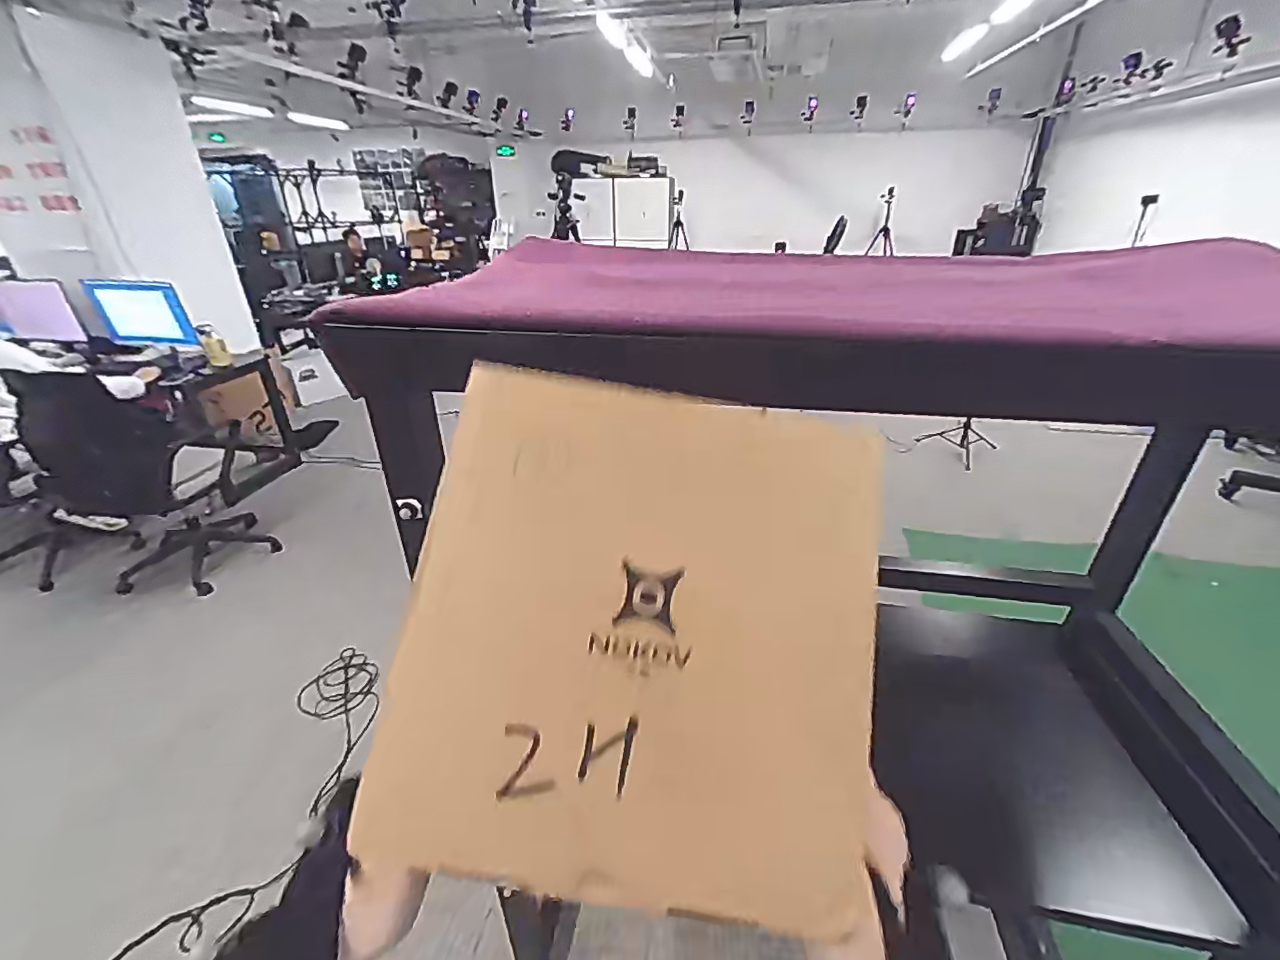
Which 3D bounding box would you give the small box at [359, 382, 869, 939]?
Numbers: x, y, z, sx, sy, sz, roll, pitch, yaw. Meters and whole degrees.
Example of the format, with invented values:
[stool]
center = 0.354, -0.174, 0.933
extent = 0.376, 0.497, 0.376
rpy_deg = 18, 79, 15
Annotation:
[small box]
center = -0.003, 0.074, 0.277
extent = 0.168, 0.179, 0.176
rpy_deg = 9, -13, 2
